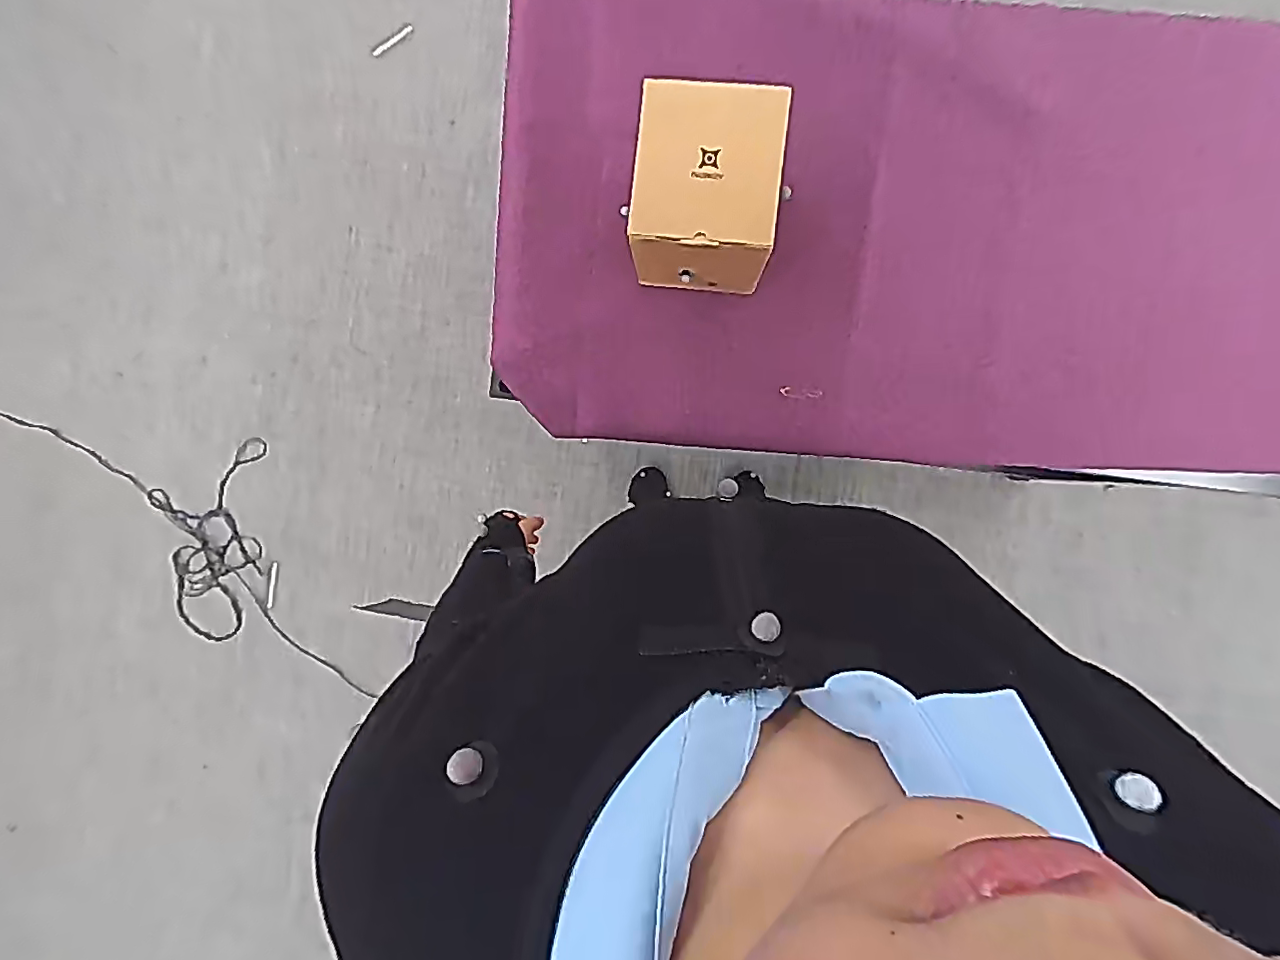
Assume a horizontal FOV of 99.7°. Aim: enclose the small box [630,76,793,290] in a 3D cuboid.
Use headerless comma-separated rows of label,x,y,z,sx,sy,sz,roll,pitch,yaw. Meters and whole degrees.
small box,0.083,-0.357,0.679,0.168,0.176,0.179,6,94,4
